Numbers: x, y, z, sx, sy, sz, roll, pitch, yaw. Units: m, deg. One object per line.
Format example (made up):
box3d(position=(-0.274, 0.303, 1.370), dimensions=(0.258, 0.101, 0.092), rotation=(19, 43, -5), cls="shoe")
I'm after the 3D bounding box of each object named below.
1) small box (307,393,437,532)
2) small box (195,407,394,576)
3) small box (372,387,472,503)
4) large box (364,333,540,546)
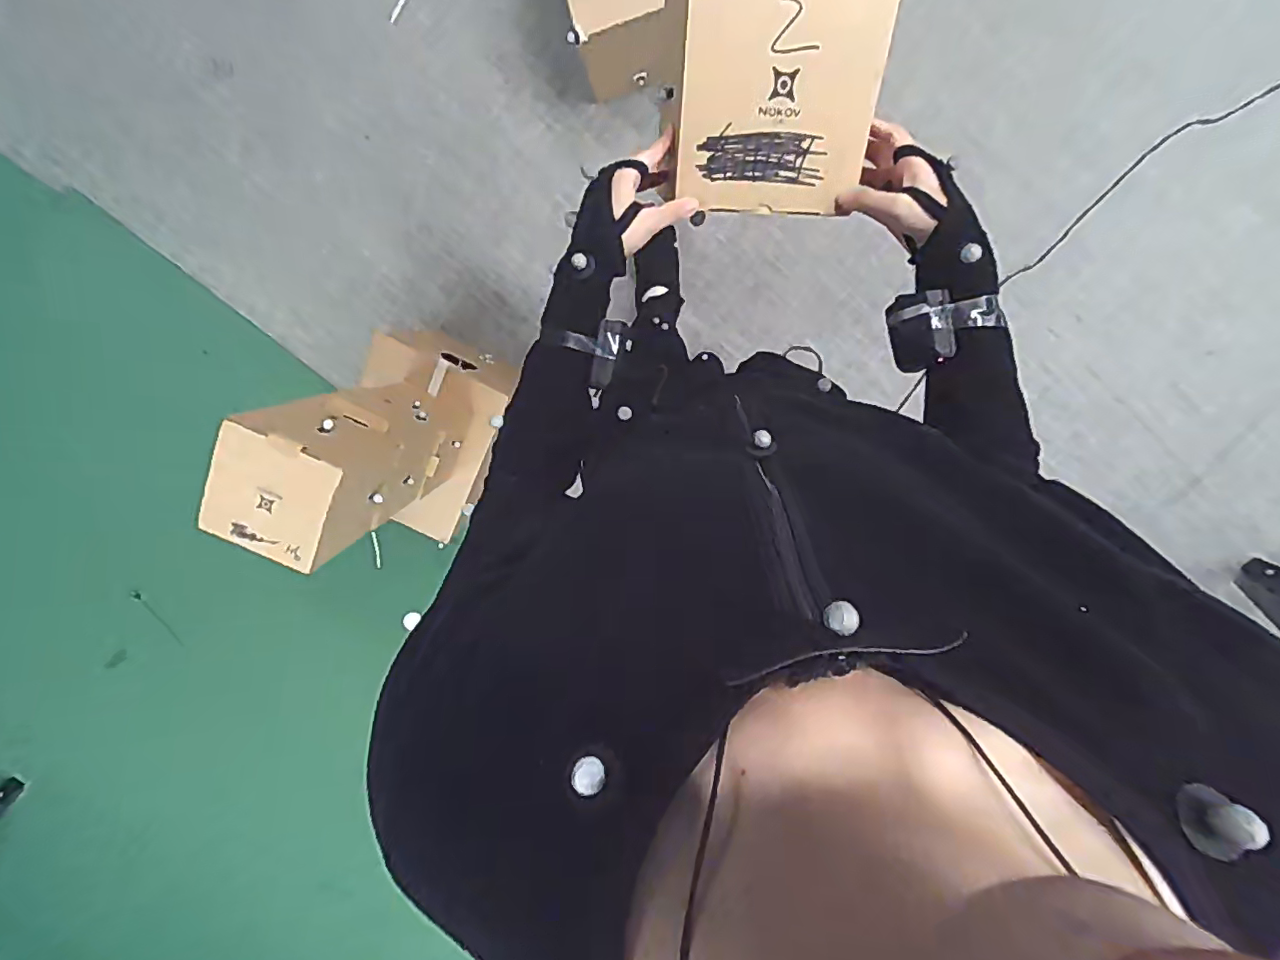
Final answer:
box3d(position=(-0.485, -0.041, 0.961), dimensions=(0.168, 0.176, 0.179), rotation=(25, 106, -4), cls="small box")
box3d(position=(-0.497, 0.005, 0.804), dimensions=(0.168, 0.176, 0.179), rotation=(26, 104, -4), cls="small box")
box3d(position=(-0.475, -0.081, 1.119), dimensions=(0.179, 0.176, 0.168), rotation=(26, 105, -4), cls="small box")
box3d(position=(-0.491, -0.118, 1.364), dimensions=(0.320, 0.320, 0.408), rotation=(26, 107, -3), cls="large box")
